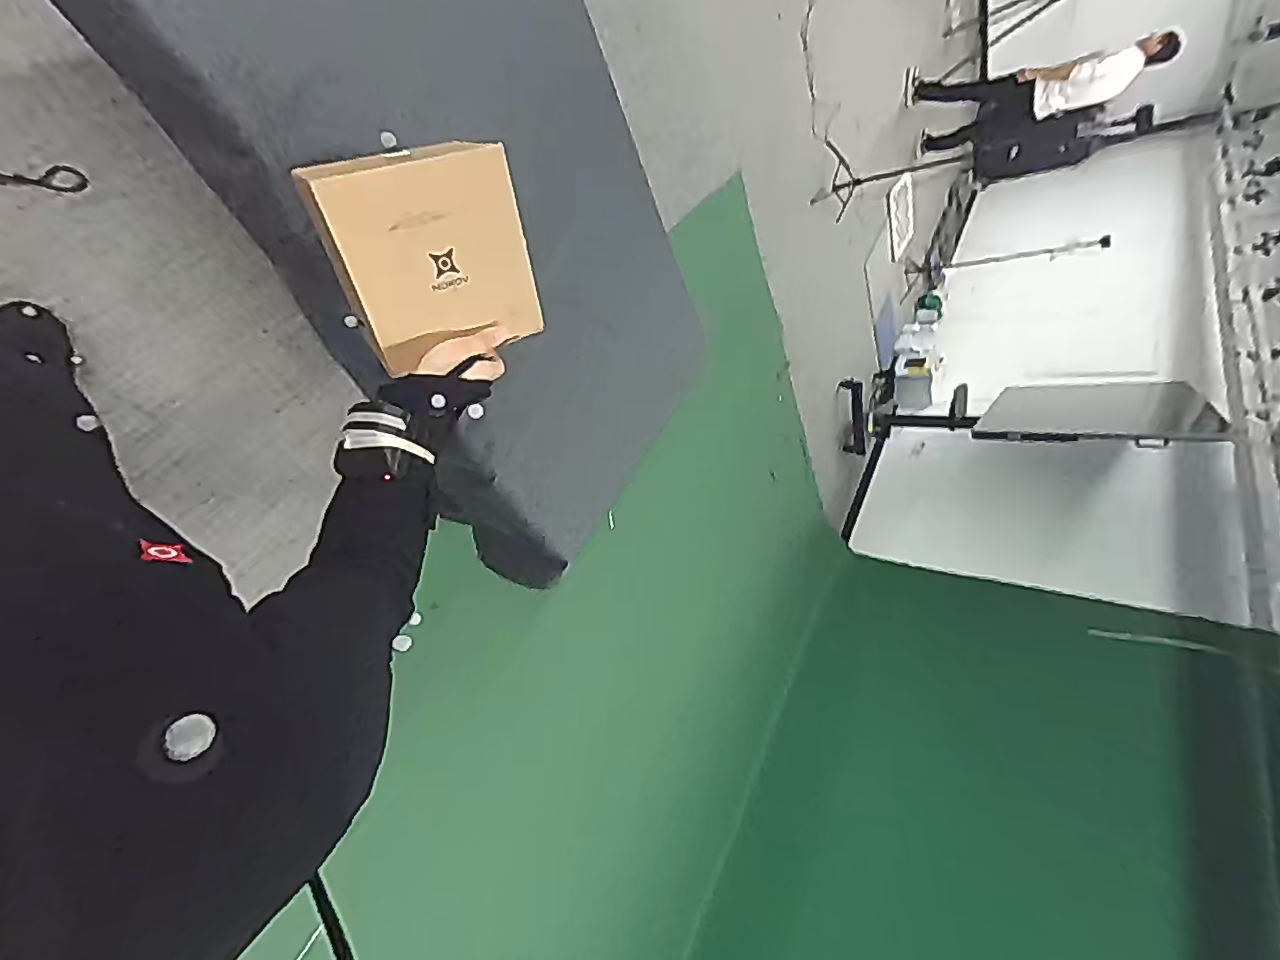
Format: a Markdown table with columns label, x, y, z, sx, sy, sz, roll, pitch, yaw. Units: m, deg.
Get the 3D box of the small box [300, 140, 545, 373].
| label | x | y | z | sx | sy | sz | roll | pitch | yaw |
| --- | --- | --- | --- | --- | --- | --- | --- | --- | --- |
| small box | -0.223 | -0.241 | 0.565 | 0.168 | 0.176 | 0.179 | -28 | 130 | -22 |
